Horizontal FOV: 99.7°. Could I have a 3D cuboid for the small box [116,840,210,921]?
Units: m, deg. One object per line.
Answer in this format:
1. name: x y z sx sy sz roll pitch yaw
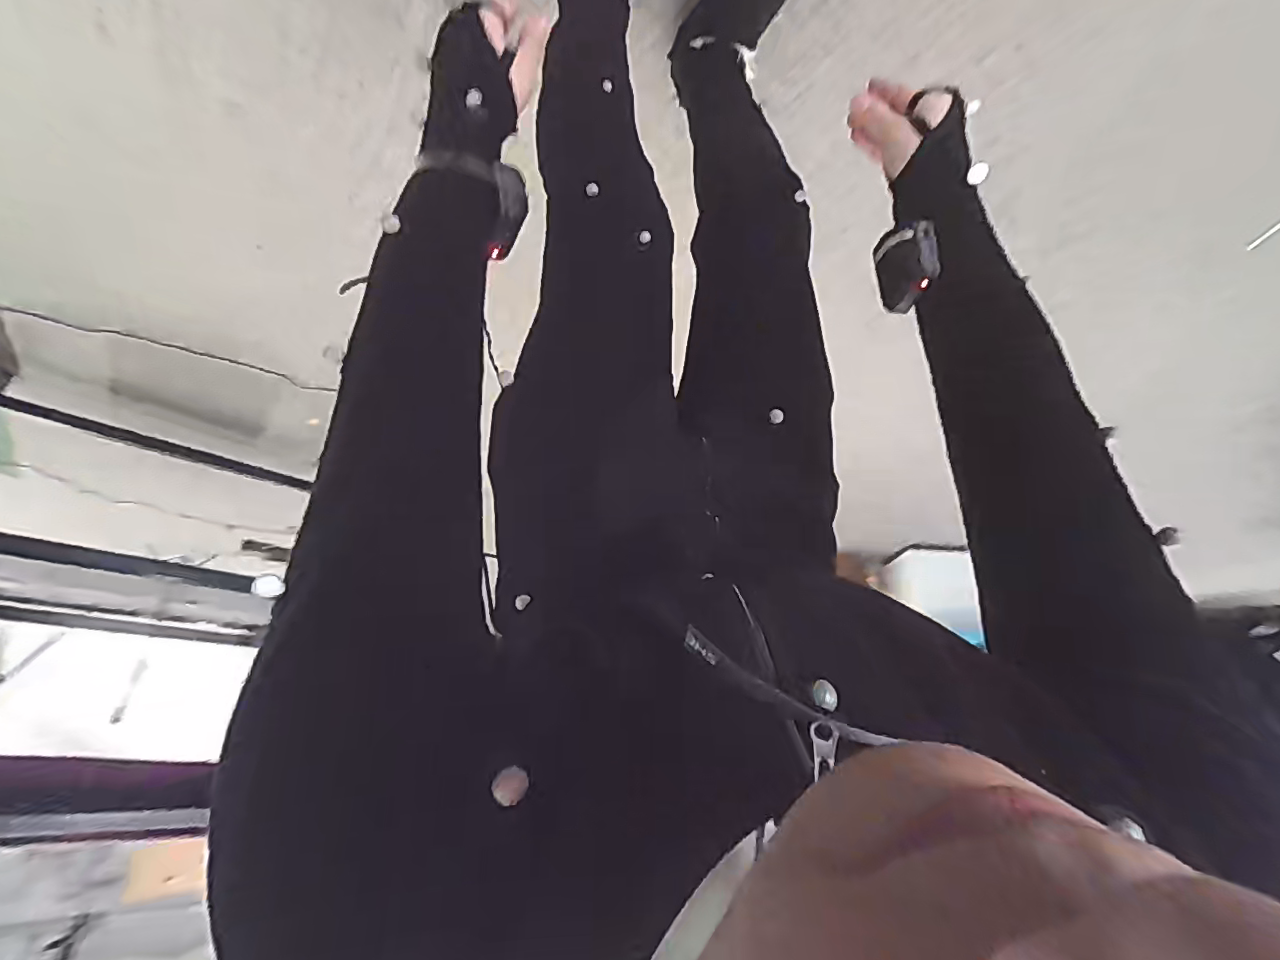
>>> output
1. small box: -1.469 1.226 1.672 0.179 0.176 0.168 24 148 -35
